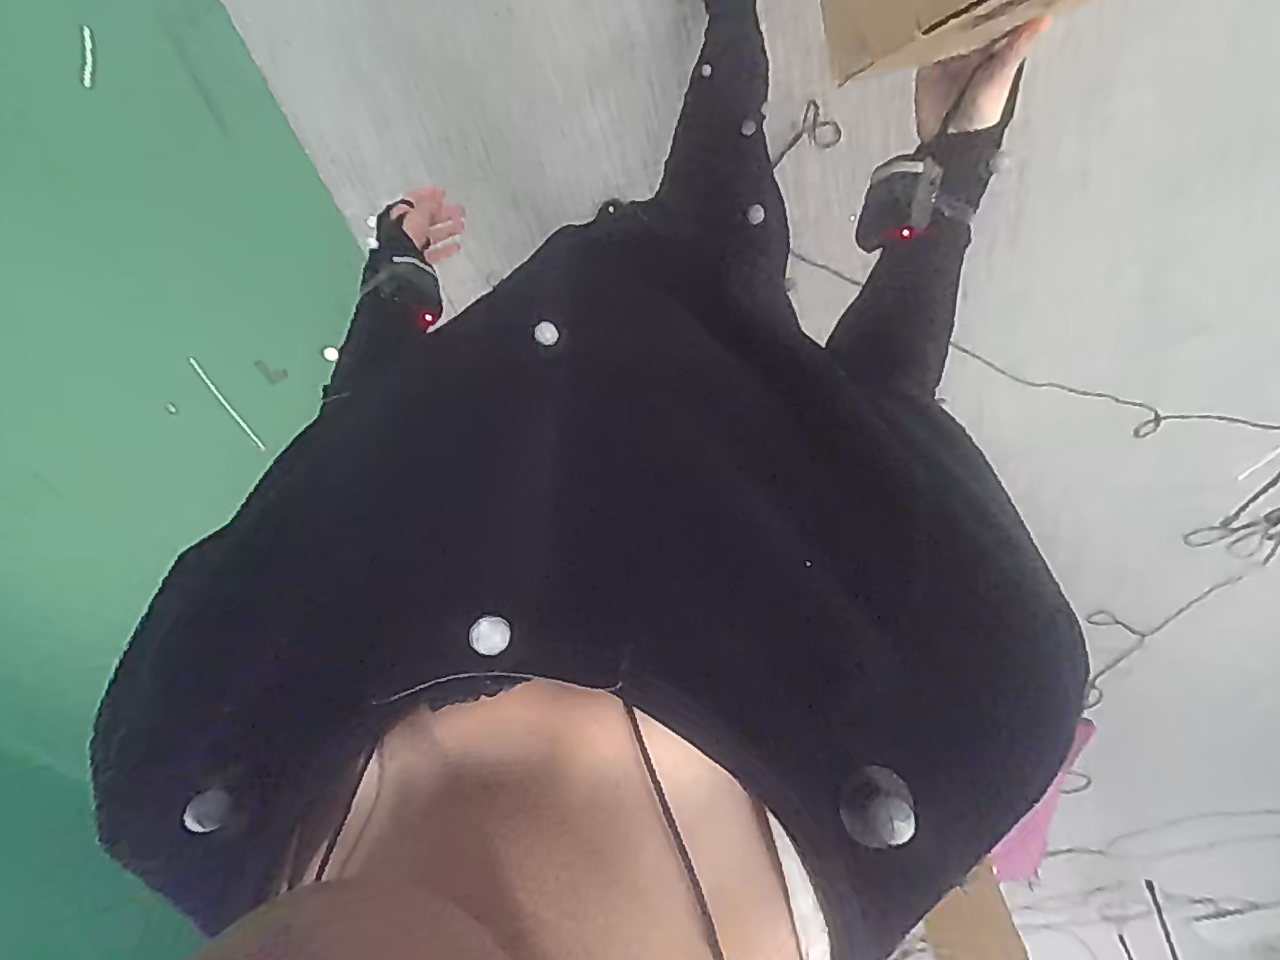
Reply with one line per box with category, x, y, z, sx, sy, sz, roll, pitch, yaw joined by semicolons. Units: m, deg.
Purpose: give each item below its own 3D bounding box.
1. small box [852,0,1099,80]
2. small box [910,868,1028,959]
small box;0.214;-0.345;0.270;0.179;0.168;0.176;-28;113;-22
small box;0.681;0.938;1.127;0.168;0.176;0.179;-15;124;13
